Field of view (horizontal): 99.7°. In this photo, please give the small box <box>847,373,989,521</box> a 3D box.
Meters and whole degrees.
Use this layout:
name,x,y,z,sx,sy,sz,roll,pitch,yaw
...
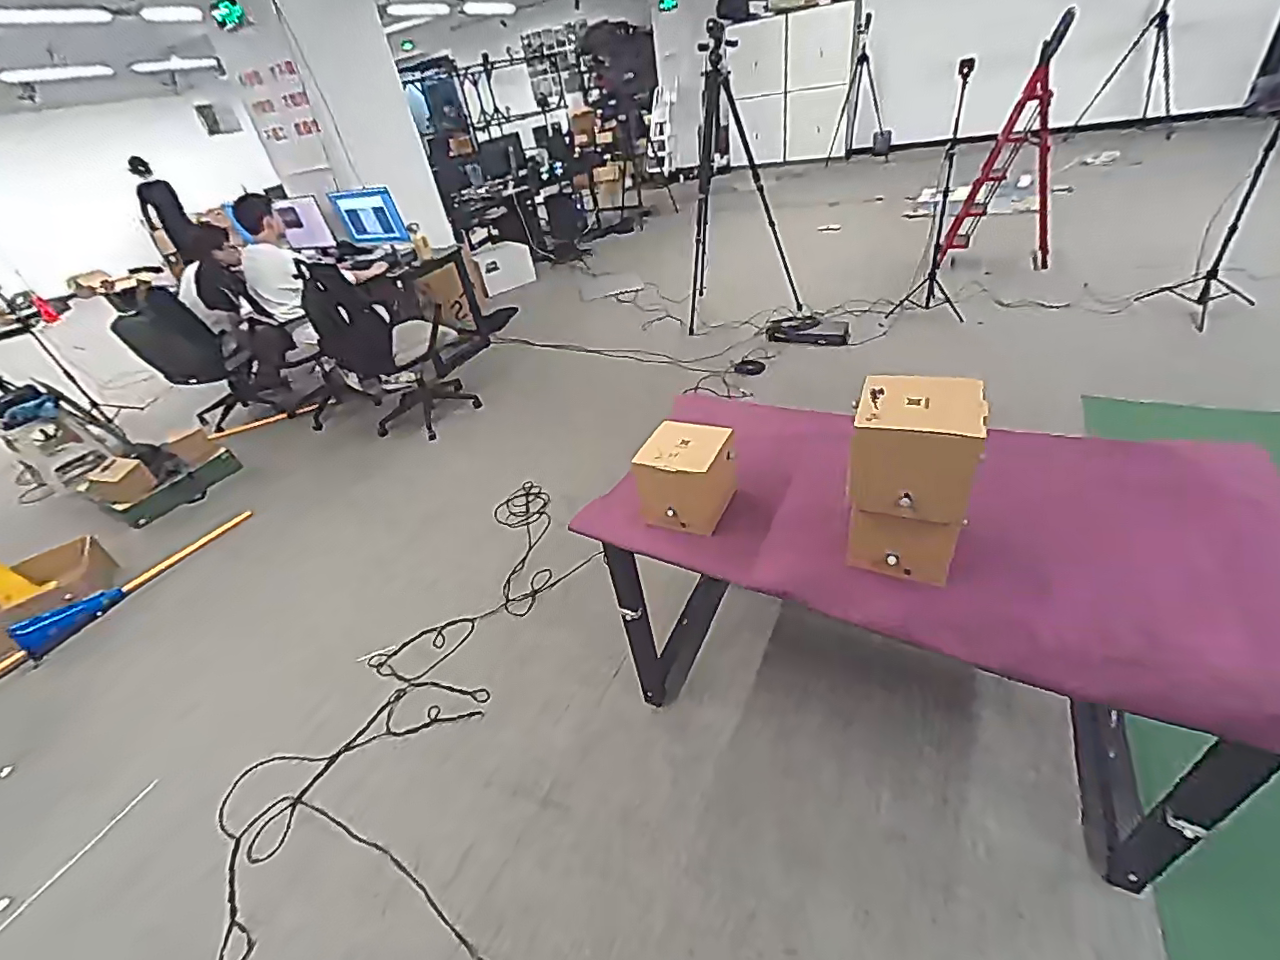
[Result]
name,x,y,z,sx,sy,sz,roll,pitch,yaw
small box,0.443,-0.055,0.872,0.179,0.176,0.168,9,41,25

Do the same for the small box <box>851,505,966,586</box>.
name,x,y,z,sx,sy,sz,roll,pitch,yaw
small box,0.488,0.060,0.984,0.168,0.176,0.179,11,42,28

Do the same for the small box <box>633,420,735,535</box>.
name,x,y,z,sx,sy,sz,roll,pitch,yaw
small box,0.103,-0.009,1.173,0.168,0.176,0.179,9,40,26
